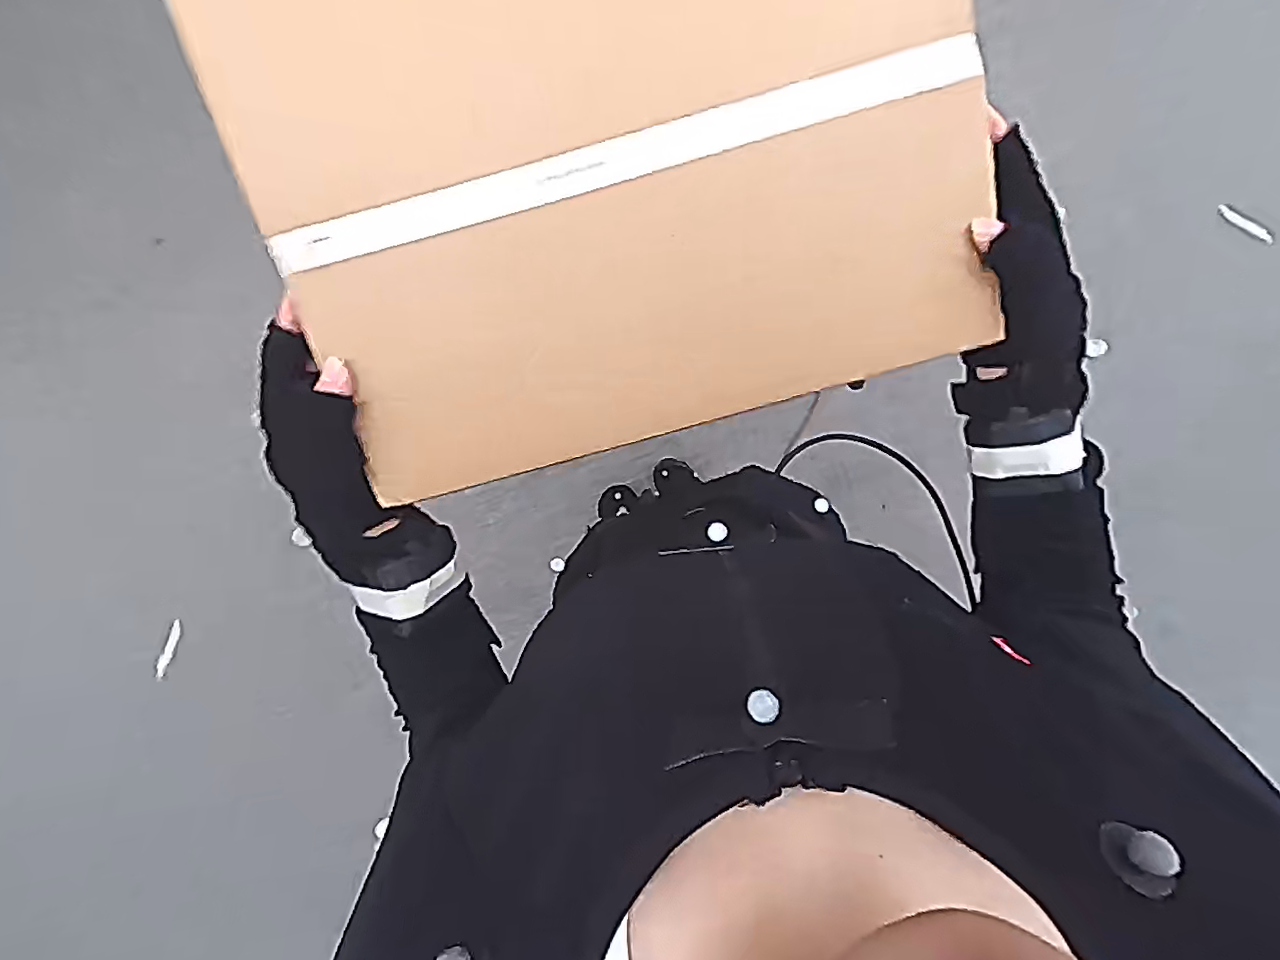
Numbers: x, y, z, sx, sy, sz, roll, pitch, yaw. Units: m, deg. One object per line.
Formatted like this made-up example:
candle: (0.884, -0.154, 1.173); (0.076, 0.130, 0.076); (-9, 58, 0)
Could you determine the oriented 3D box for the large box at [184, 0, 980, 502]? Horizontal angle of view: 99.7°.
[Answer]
large box: (-0.016, -0.219, 0.454); (0.408, 0.320, 0.320); (-15, 105, 1)
